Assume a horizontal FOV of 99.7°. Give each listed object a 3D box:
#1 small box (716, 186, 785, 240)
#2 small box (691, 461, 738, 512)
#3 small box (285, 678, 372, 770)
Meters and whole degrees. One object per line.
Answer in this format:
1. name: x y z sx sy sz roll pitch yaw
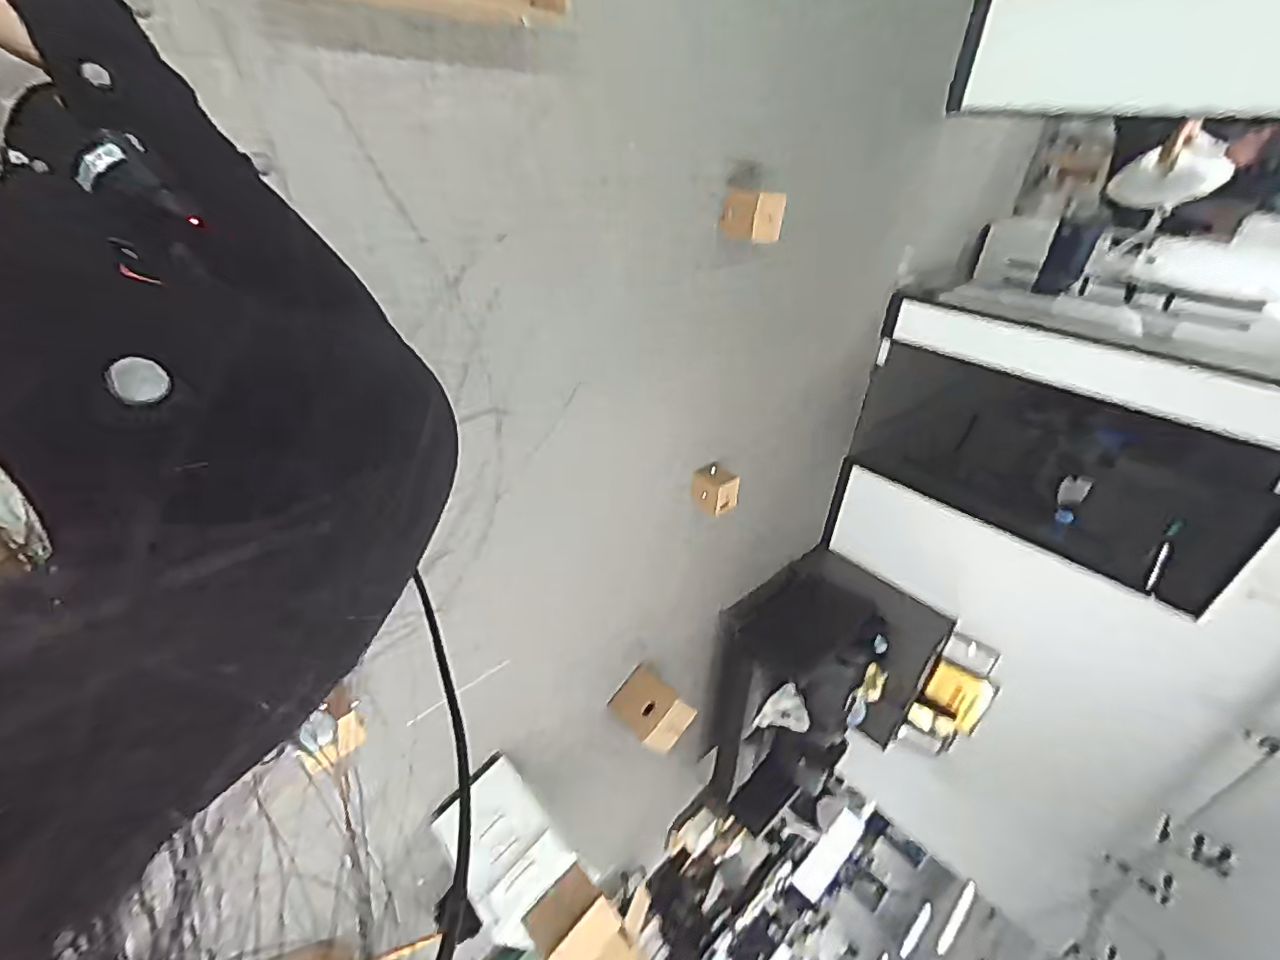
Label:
1. small box: 0.416 -1.016 2.053 0.179 0.176 0.168 -20 129 -39
2. small box: 0.377 0.031 2.773 0.168 0.176 0.179 -25 132 -36
3. small box: -1.003 0.779 1.745 0.179 0.176 0.168 -29 134 -34
